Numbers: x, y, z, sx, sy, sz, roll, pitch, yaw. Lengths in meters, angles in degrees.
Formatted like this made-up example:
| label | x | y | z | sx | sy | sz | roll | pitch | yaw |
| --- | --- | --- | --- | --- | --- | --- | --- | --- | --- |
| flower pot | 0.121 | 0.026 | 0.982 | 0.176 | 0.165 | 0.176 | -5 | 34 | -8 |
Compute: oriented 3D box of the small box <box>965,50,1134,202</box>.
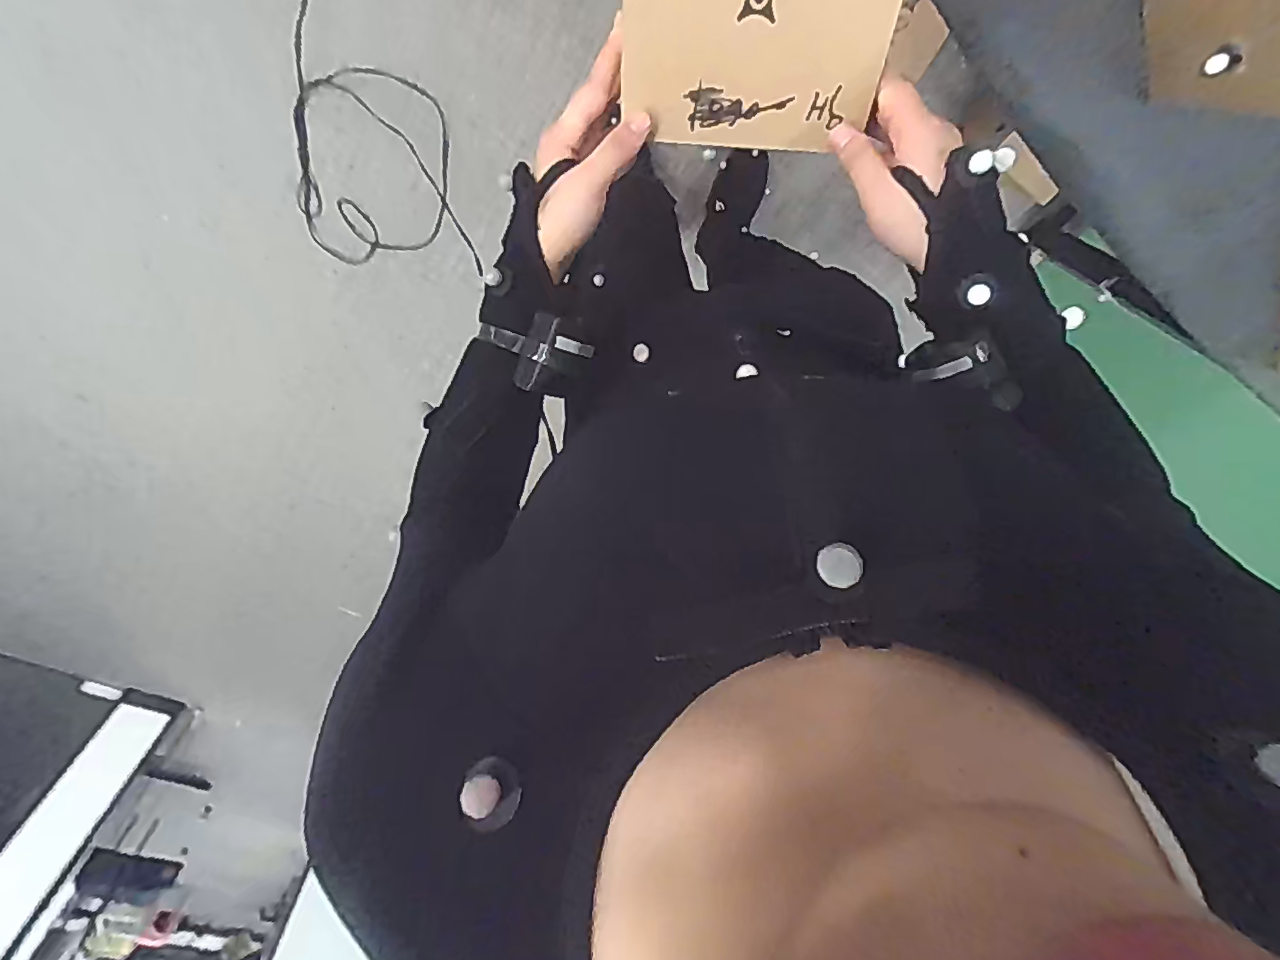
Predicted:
| label | x | y | z | sx | sy | sz | roll | pitch | yaw |
| --- | --- | --- | --- | --- | --- | --- | --- | --- | --- |
| small box | 0.765 | -0.680 | 1.038 | 0.168 | 0.176 | 0.179 | 26 | 127 | -18 |

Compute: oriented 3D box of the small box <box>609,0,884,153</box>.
| label | x | y | z | sx | sy | sz | roll | pitch | yaw |
| --- | --- | --- | --- | --- | --- | --- | --- | --- | --- |
| small box | 0.067 | -0.350 | 0.372 | 0.168 | 0.176 | 0.179 | 4 | 135 | 1 |
